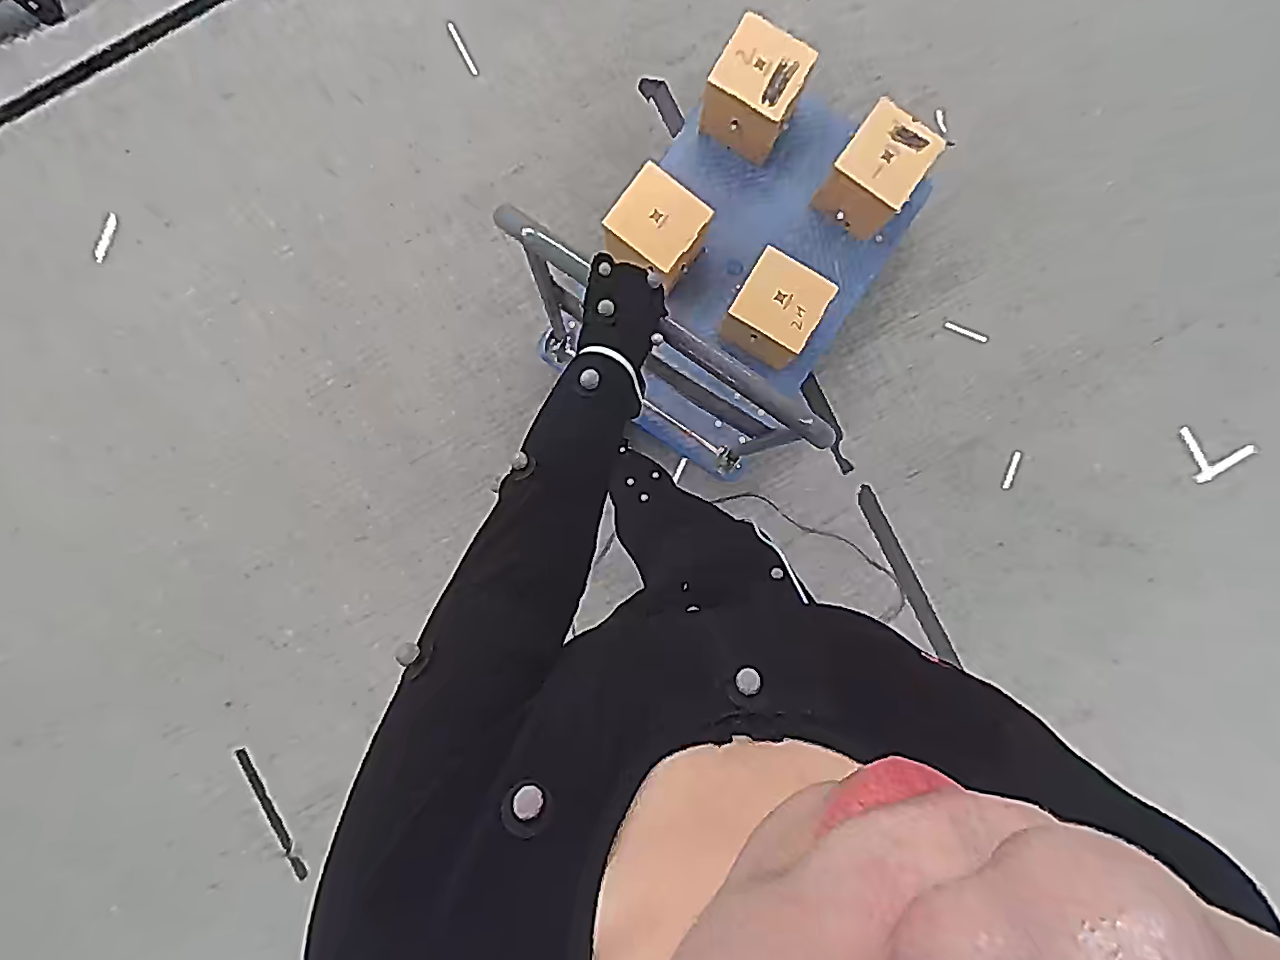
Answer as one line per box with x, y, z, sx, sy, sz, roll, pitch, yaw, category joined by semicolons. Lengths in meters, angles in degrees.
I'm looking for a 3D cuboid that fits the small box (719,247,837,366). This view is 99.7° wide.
0.294;-0.373;1.201;0.179;0.176;0.168;32;91;-1;small box

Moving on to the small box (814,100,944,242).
0.515;-0.671;1.196;0.168;0.176;0.179;36;92;-1;small box

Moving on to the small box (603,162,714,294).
0.035;-0.544;1.196;0.179;0.176;0.168;38;90;-3;small box
